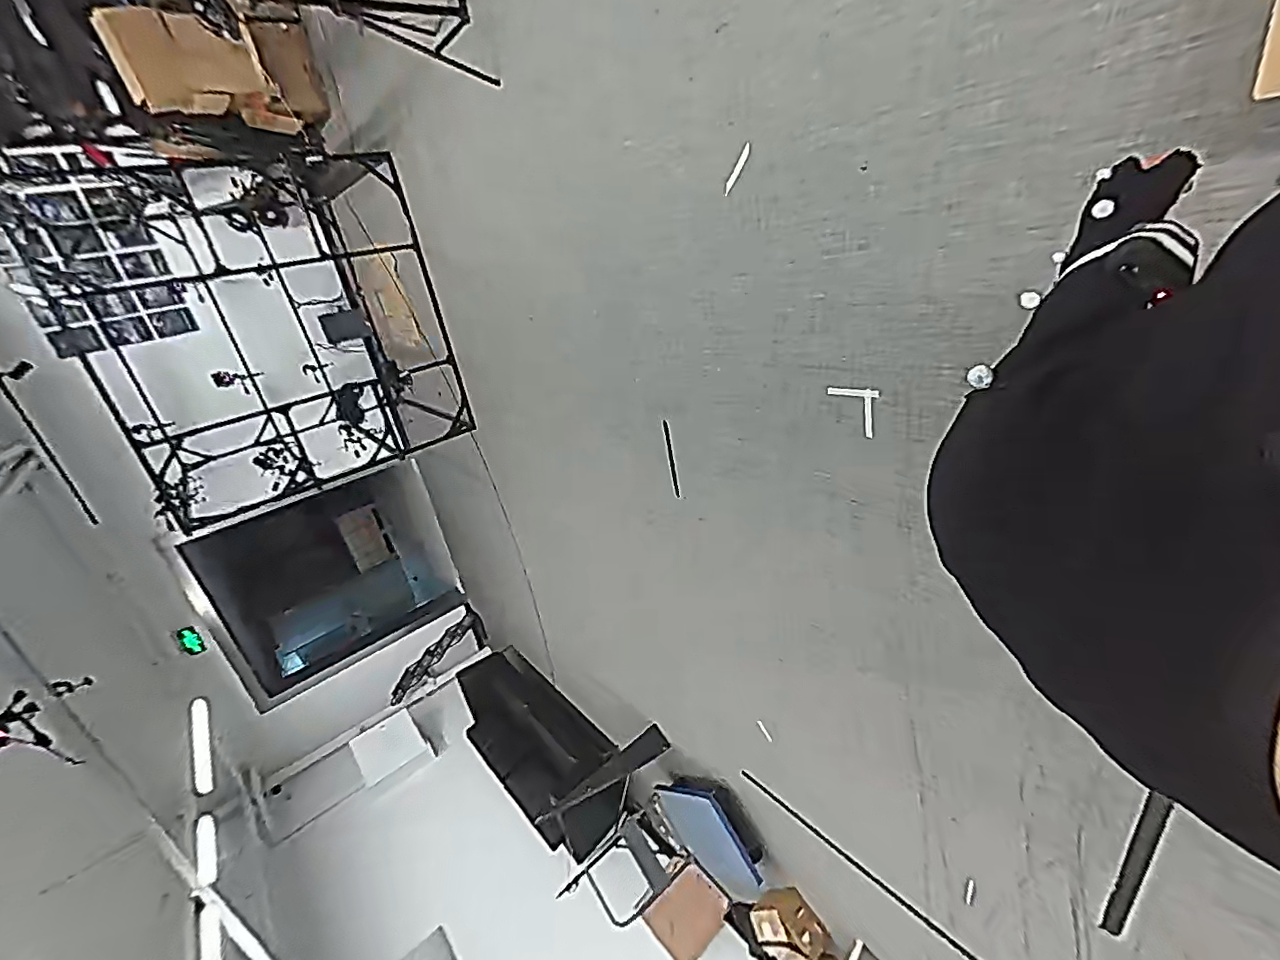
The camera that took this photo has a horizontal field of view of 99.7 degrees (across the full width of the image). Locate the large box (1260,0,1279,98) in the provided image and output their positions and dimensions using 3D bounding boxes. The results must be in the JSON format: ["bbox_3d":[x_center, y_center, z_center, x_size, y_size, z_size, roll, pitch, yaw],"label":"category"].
[{"bbox_3d":[1.034,-0.666,0.598,0.408,0.320,0.320,17,127,48],"label":"large box"}]
